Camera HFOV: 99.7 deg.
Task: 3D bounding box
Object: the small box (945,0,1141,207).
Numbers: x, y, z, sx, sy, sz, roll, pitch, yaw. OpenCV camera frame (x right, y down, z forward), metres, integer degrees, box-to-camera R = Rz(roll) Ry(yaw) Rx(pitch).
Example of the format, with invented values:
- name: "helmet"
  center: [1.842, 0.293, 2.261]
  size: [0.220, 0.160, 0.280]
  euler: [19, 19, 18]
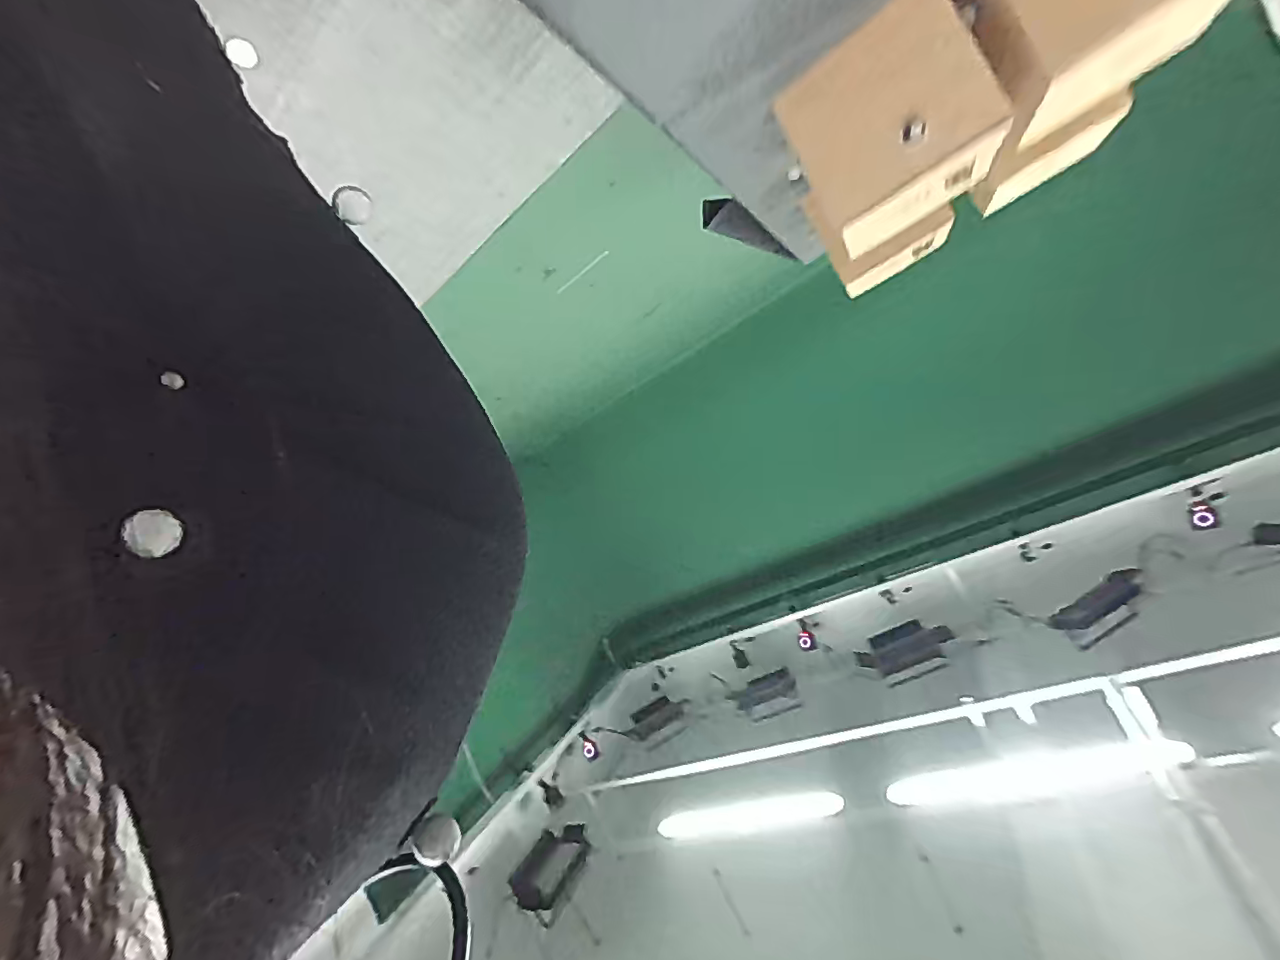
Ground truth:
- name: "small box"
  center: [0.578, -0.549, 0.803]
  size: [0.168, 0.176, 0.179]
  euler: [-29, 177, 29]
